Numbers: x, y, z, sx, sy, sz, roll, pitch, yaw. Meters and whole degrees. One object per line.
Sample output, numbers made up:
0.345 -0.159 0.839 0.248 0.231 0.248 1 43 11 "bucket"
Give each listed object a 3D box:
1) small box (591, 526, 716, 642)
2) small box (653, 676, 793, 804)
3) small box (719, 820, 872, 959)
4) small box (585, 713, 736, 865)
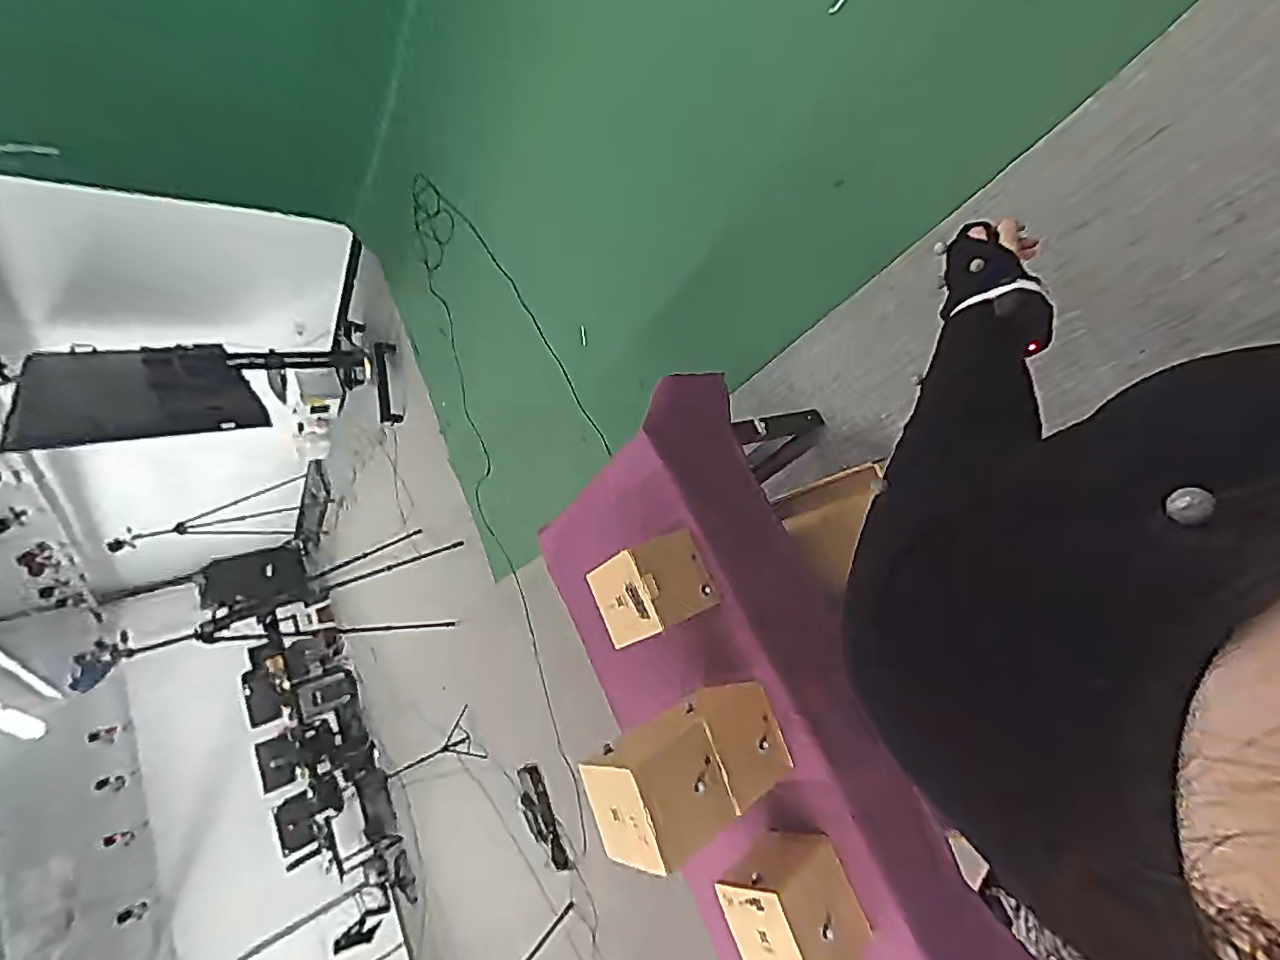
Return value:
0.034 0.212 1.122 0.179 0.176 0.168 -39 71 47 "small box"
0.162 0.500 1.058 0.179 0.176 0.168 -32 76 47 "small box"
0.285 0.761 0.985 0.168 0.176 0.179 -38 72 46 "small box"
0.036 0.530 0.956 0.179 0.176 0.168 -30 78 48 "small box"
